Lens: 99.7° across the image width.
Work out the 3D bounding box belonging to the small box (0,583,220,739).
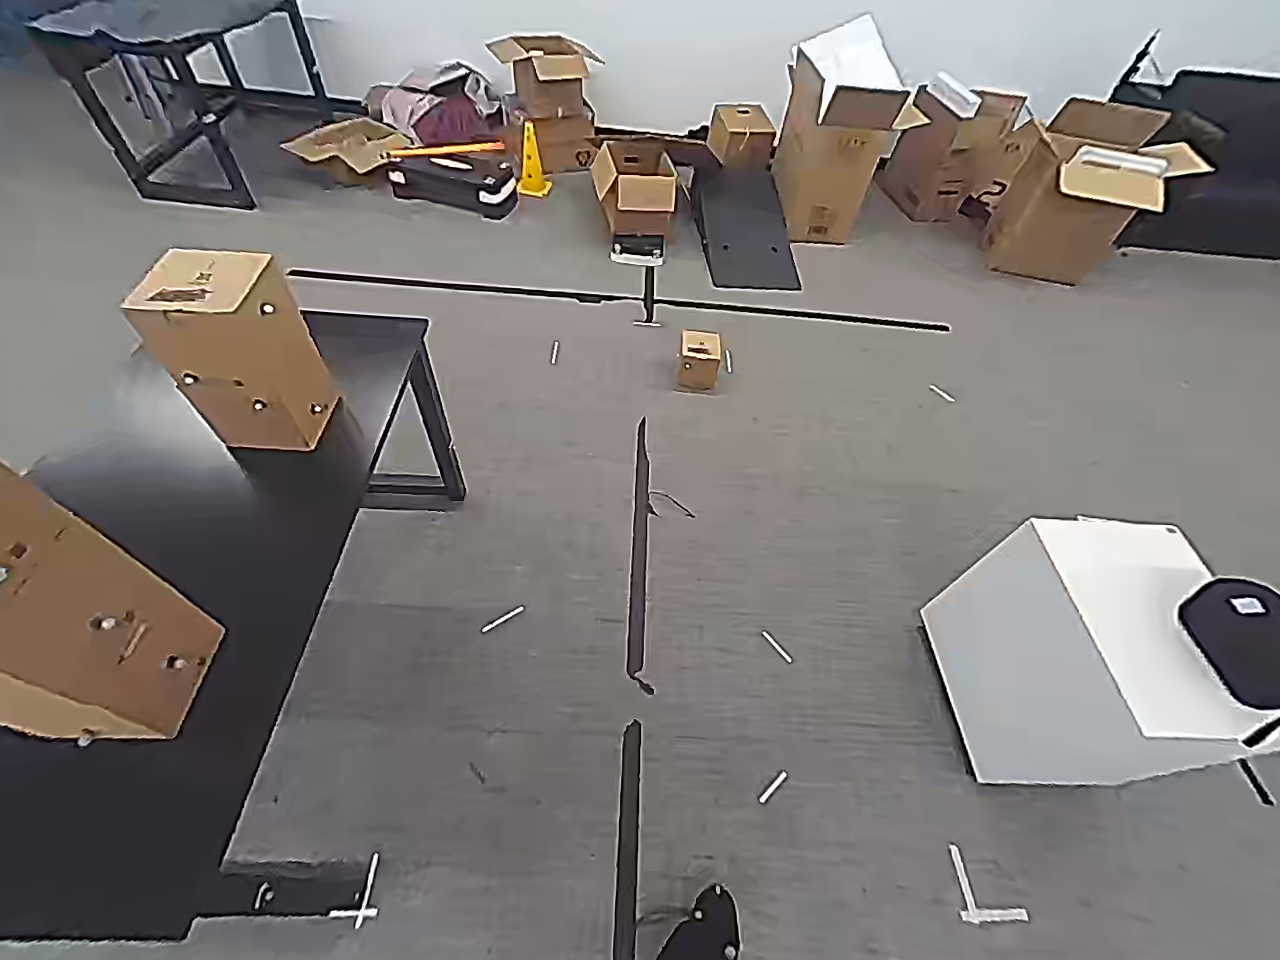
[{"bbox_3d":[-0.735,0.248,0.743,0.179,0.176,0.168,3,52,-5],"label":"small box"}]

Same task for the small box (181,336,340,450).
[{"bbox_3d":[-0.735,-0.175,1.073,0.179,0.176,0.168,3,52,-4],"label":"small box"}]

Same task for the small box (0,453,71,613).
[{"bbox_3d":[-0.707,0.047,0.486,0.179,0.176,0.168,3,53,-5],"label":"small box"}]

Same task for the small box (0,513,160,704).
[{"bbox_3d":[-0.722,0.147,0.614,0.179,0.176,0.168,3,53,-4],"label":"small box"}]

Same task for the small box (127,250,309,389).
[{"bbox_3d":[-0.714,-0.275,0.944,0.168,0.176,0.179,1,52,-6],"label":"small box"}]
